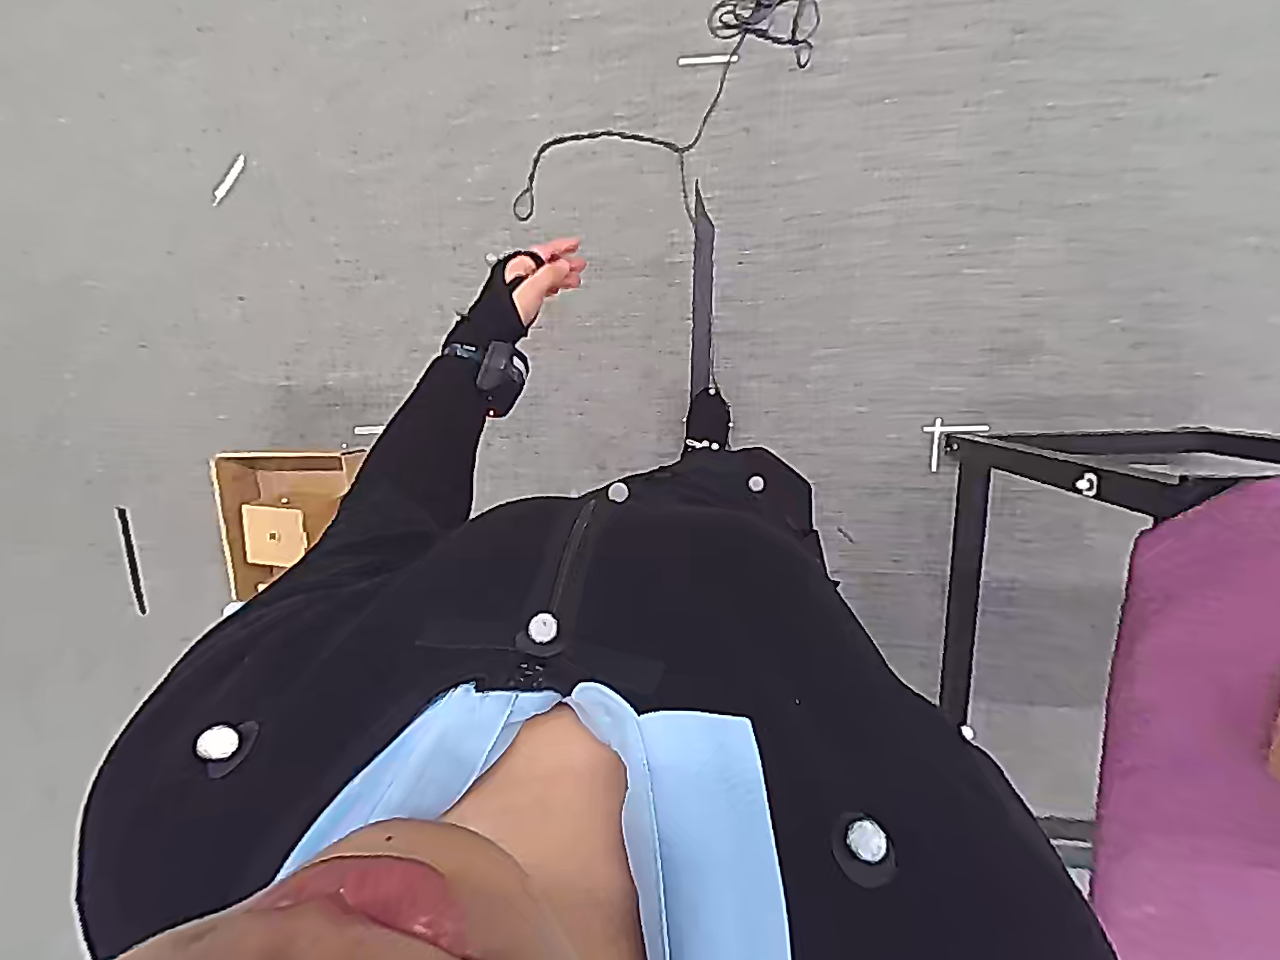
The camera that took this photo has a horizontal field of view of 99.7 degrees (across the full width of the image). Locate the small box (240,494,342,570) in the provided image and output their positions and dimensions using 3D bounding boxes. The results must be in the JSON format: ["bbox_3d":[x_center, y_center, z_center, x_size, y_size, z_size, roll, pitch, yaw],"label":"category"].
[{"bbox_3d":[-0.972,0.140,1.516,0.179,0.176,0.168,5,102,6],"label":"small box"}]
